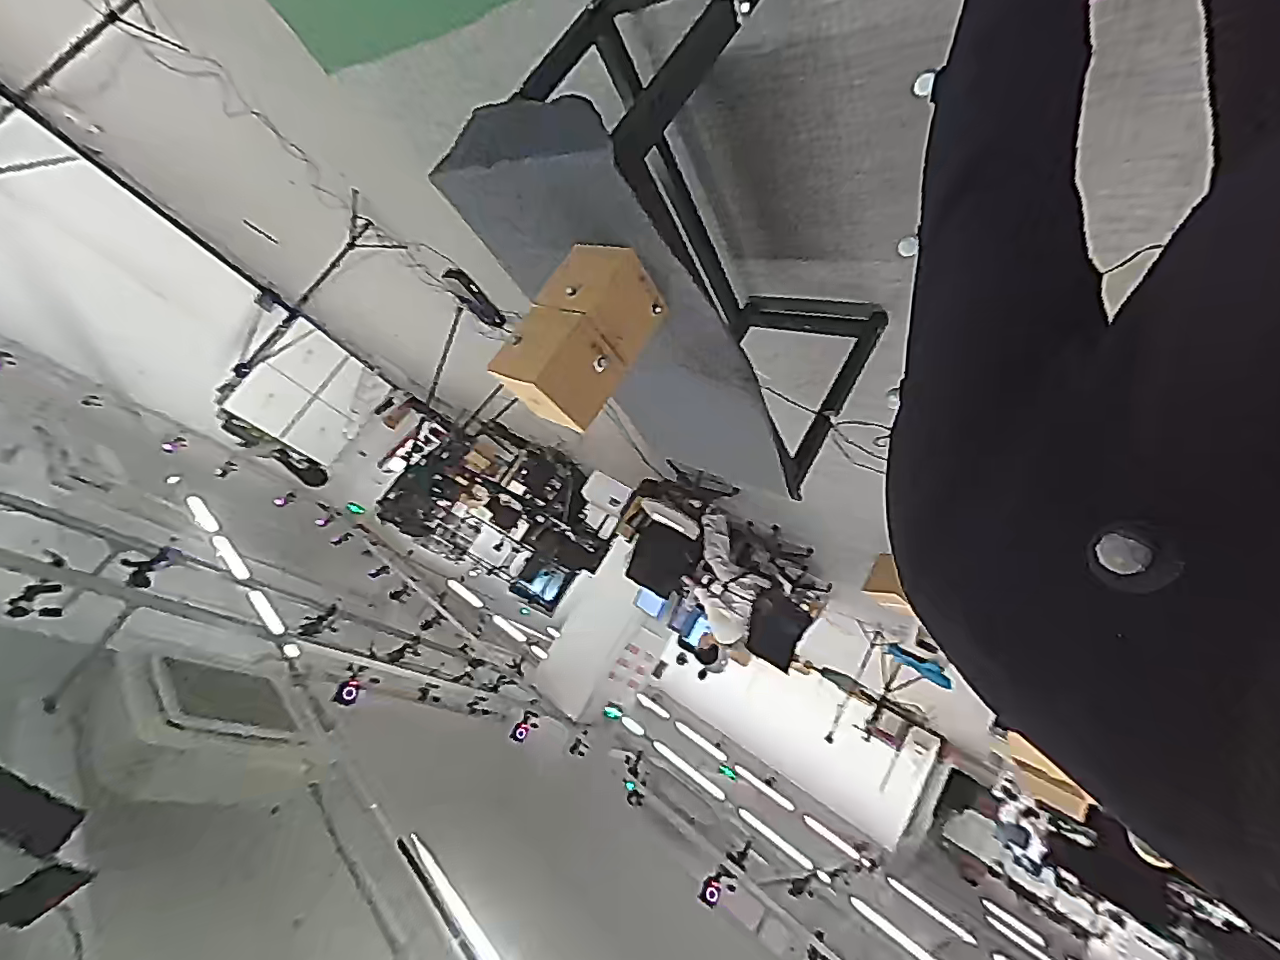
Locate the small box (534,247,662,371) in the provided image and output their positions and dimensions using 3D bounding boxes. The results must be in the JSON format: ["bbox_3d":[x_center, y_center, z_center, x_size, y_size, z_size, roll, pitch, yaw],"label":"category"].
[{"bbox_3d":[-0.076,-0.354,1.112,0.179,0.176,0.168,25,167,39],"label":"small box"}]

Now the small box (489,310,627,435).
[{"bbox_3d":[-0.159,-0.219,1.078,0.179,0.176,0.168,21,166,42],"label":"small box"}]
